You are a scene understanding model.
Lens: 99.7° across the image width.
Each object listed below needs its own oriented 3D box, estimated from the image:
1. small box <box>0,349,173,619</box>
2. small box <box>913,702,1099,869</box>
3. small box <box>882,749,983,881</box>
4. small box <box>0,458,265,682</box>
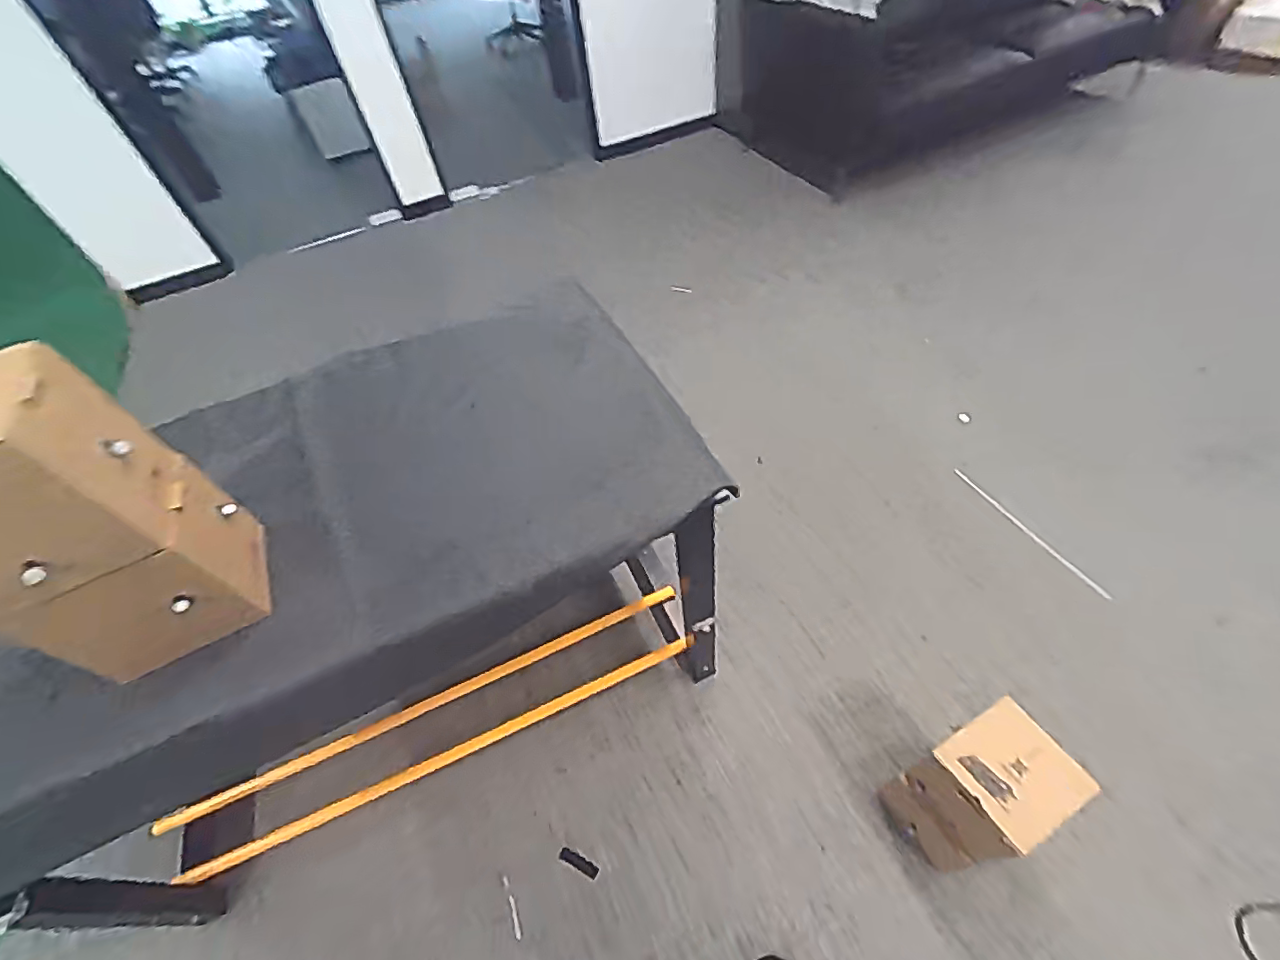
[{"bbox_3d":[-0.612,0.008,0.532,0.179,0.176,0.168,-25,51,-14],"label":"small box"},{"bbox_3d":[0.588,0.512,0.900,0.179,0.176,0.168,-26,52,-15],"label":"small box"},{"bbox_3d":[0.593,0.620,1.024,0.179,0.176,0.168,-28,52,-14],"label":"small box"},{"bbox_3d":[-0.591,0.111,0.659,0.179,0.176,0.168,-27,51,-13],"label":"small box"}]
